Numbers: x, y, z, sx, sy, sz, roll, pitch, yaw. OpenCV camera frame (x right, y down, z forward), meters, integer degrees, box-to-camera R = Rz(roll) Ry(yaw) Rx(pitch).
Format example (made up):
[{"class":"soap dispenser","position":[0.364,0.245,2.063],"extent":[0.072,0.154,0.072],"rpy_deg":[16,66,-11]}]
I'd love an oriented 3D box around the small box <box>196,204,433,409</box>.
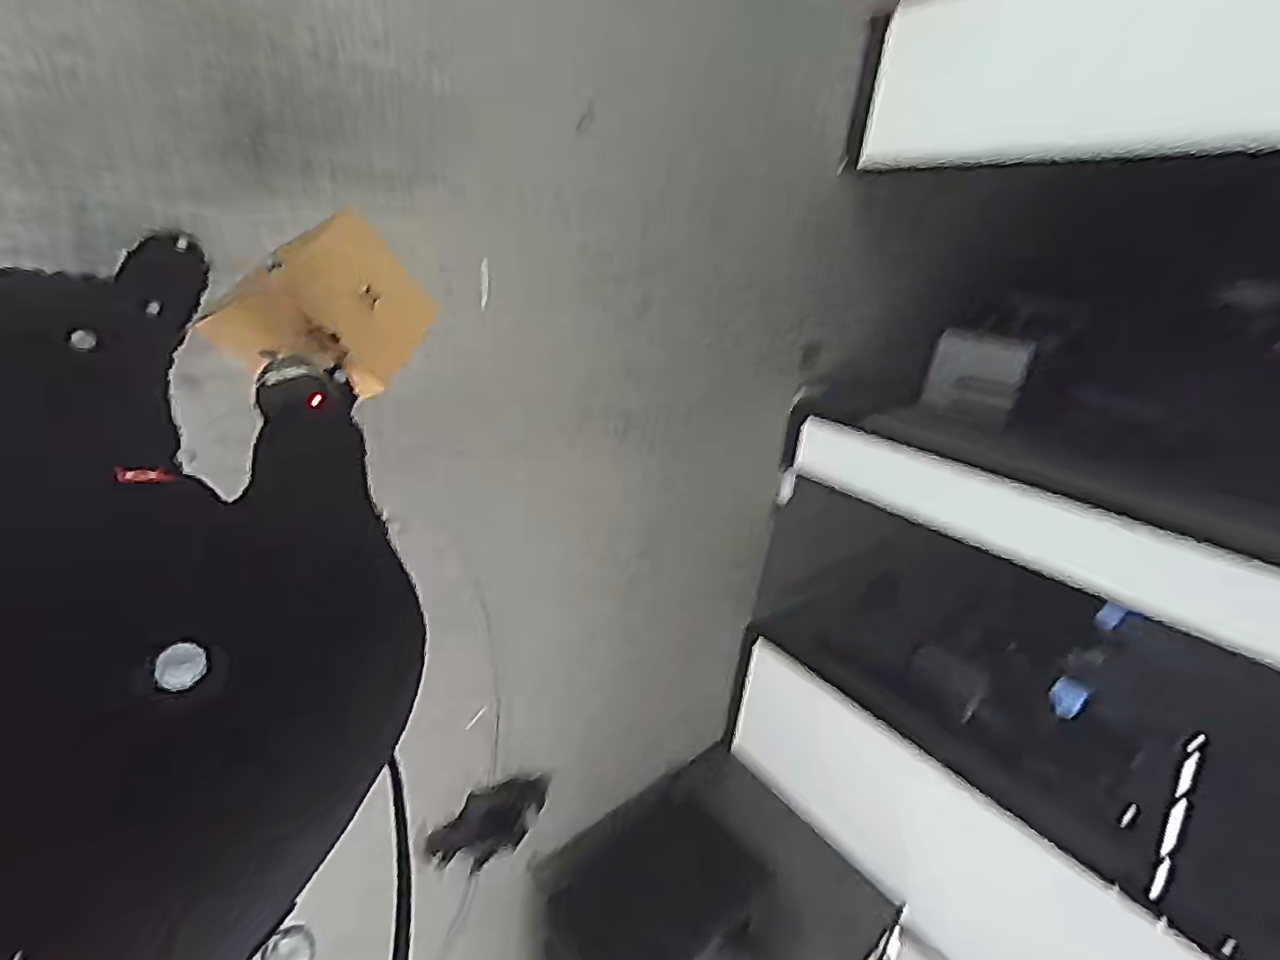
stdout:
[{"class":"small box","position":[-0.414,-0.218,0.703],"extent":[0.168,0.176,0.179],"rpy_deg":[56,36,-42]}]
